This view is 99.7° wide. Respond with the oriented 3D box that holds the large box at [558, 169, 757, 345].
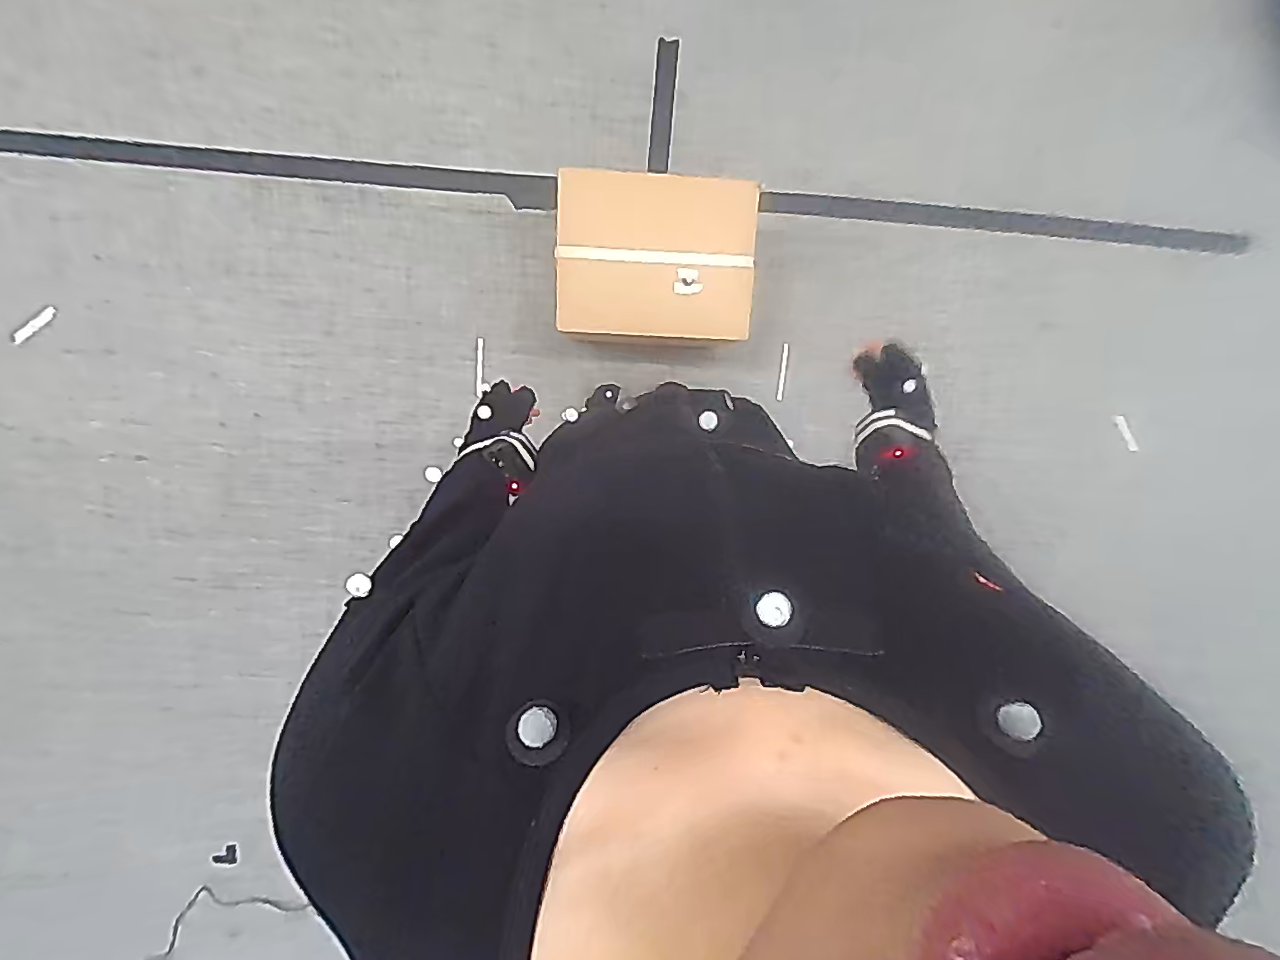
[{"bbox_3d":[0.021,-0.483,1.246,0.408,0.320,0.320,1,102,-5],"label":"large box"}]
